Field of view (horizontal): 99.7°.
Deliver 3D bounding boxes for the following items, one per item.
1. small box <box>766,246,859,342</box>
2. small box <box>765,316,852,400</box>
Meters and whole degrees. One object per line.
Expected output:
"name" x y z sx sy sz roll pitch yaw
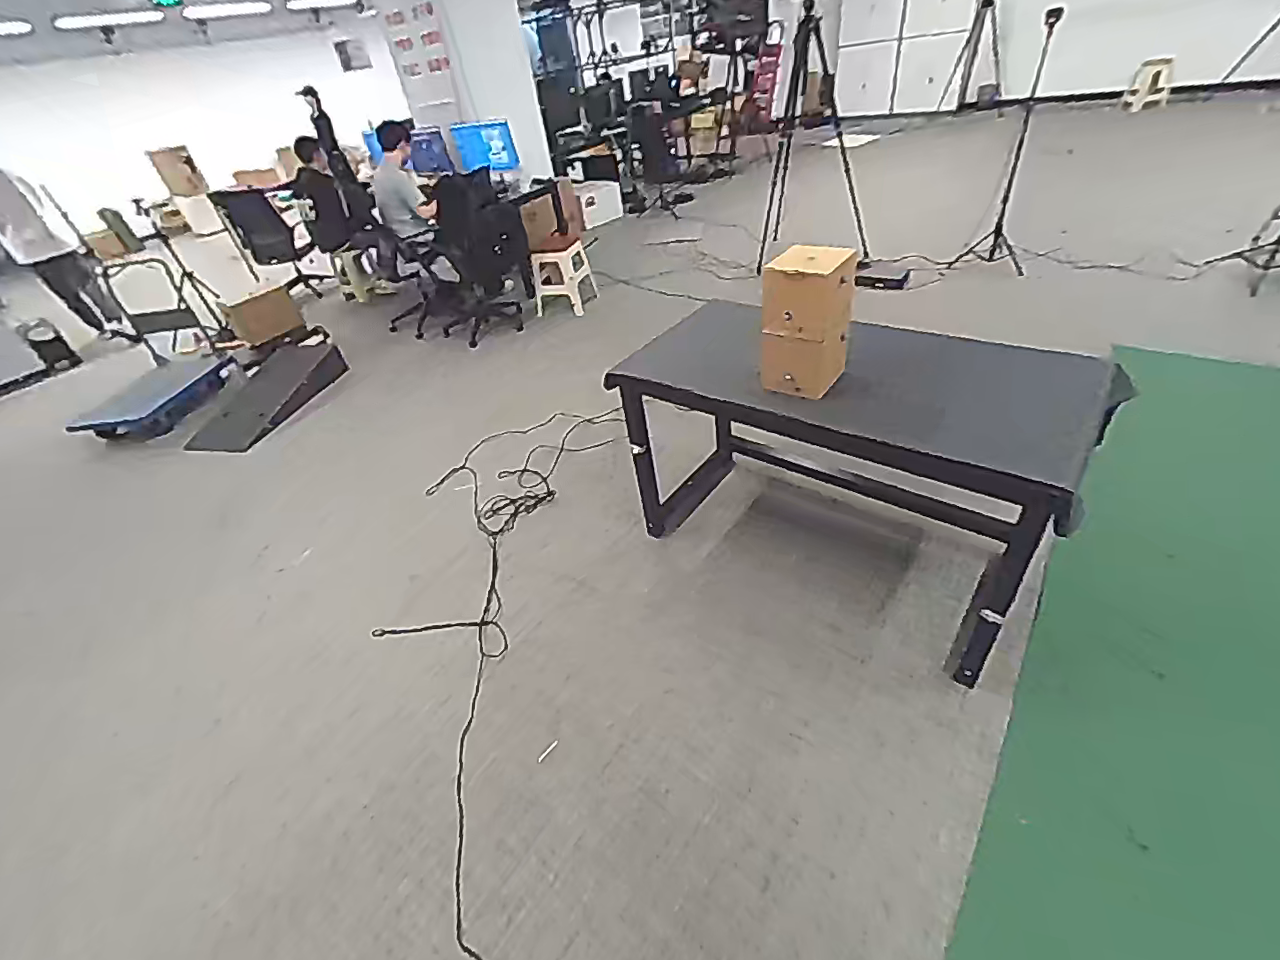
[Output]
"small box" 0.424 -0.465 1.348 0.168 0.176 0.179 21 48 33
"small box" 0.446 -0.340 1.448 0.168 0.176 0.179 20 47 34
